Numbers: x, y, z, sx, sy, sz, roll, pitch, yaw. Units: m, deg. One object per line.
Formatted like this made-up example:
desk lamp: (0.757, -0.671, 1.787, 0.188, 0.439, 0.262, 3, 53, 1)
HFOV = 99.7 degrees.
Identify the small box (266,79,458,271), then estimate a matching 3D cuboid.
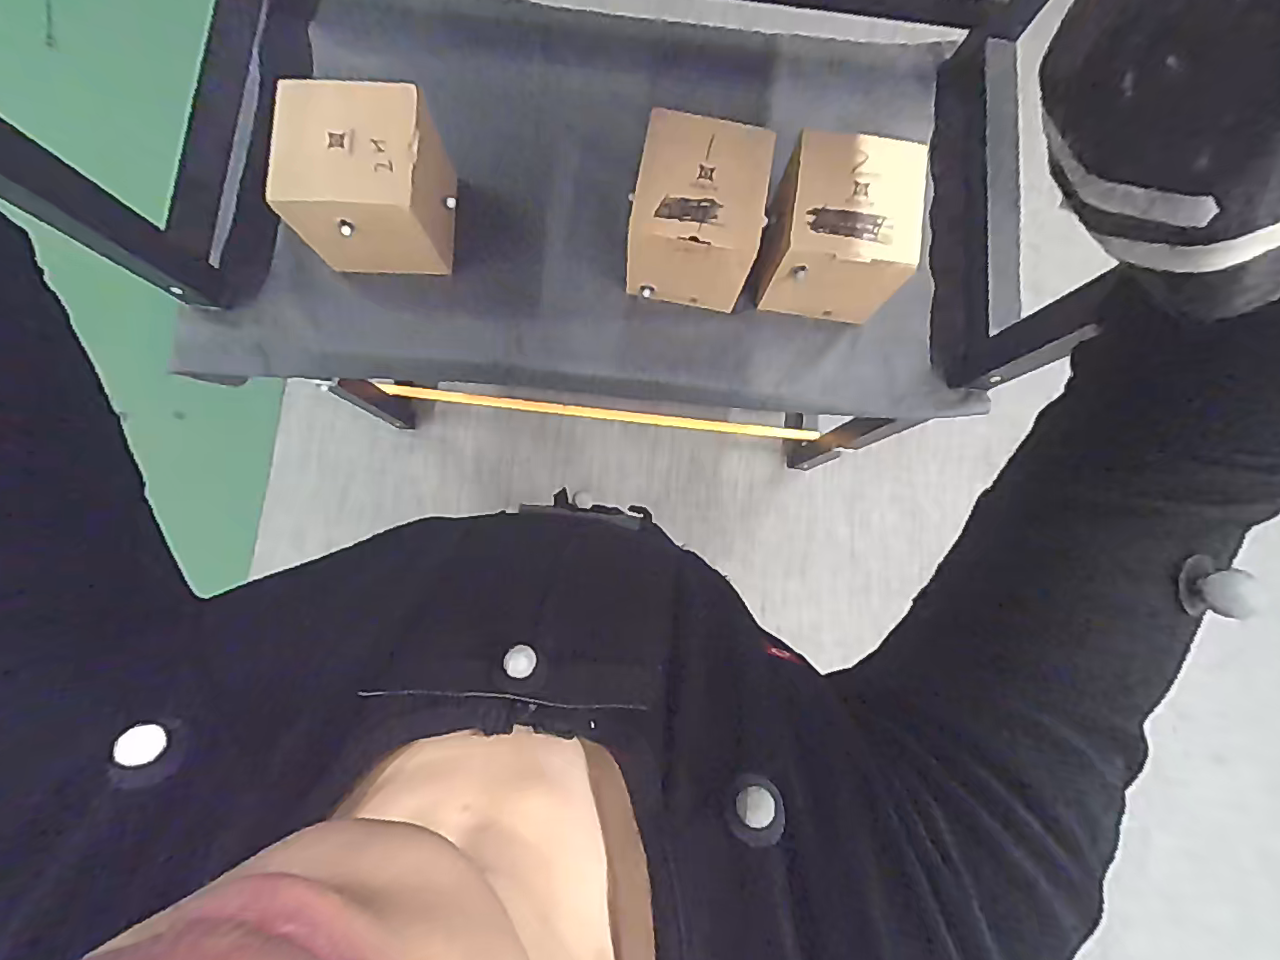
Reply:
small box: (-0.368, -0.406, 0.745, 0.179, 0.176, 0.168, 1, 83, -3)
